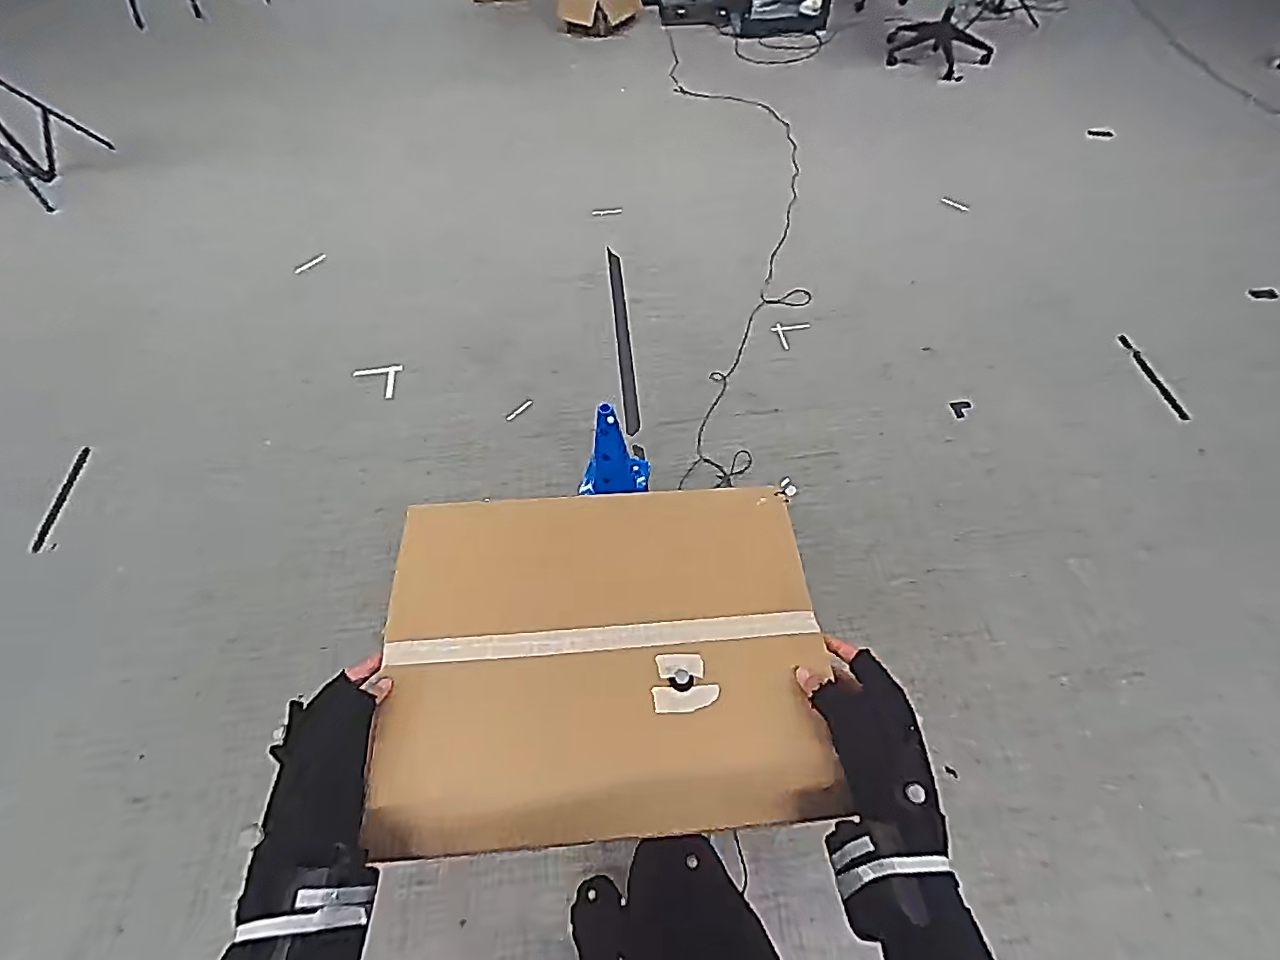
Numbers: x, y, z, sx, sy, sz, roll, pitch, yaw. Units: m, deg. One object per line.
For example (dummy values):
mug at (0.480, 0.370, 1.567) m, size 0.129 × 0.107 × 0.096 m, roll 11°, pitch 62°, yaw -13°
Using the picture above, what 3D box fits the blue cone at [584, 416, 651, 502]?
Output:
blue cone at (-0.078, -0.063, 1.584) m, size 0.193 × 0.380 × 0.192 m, roll 12°, pitch 59°, yaw 10°

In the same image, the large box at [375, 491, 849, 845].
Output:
large box at (-0.034, 0.232, 0.649) m, size 0.408 × 0.320 × 0.320 m, roll -2°, pitch 58°, yaw -3°
